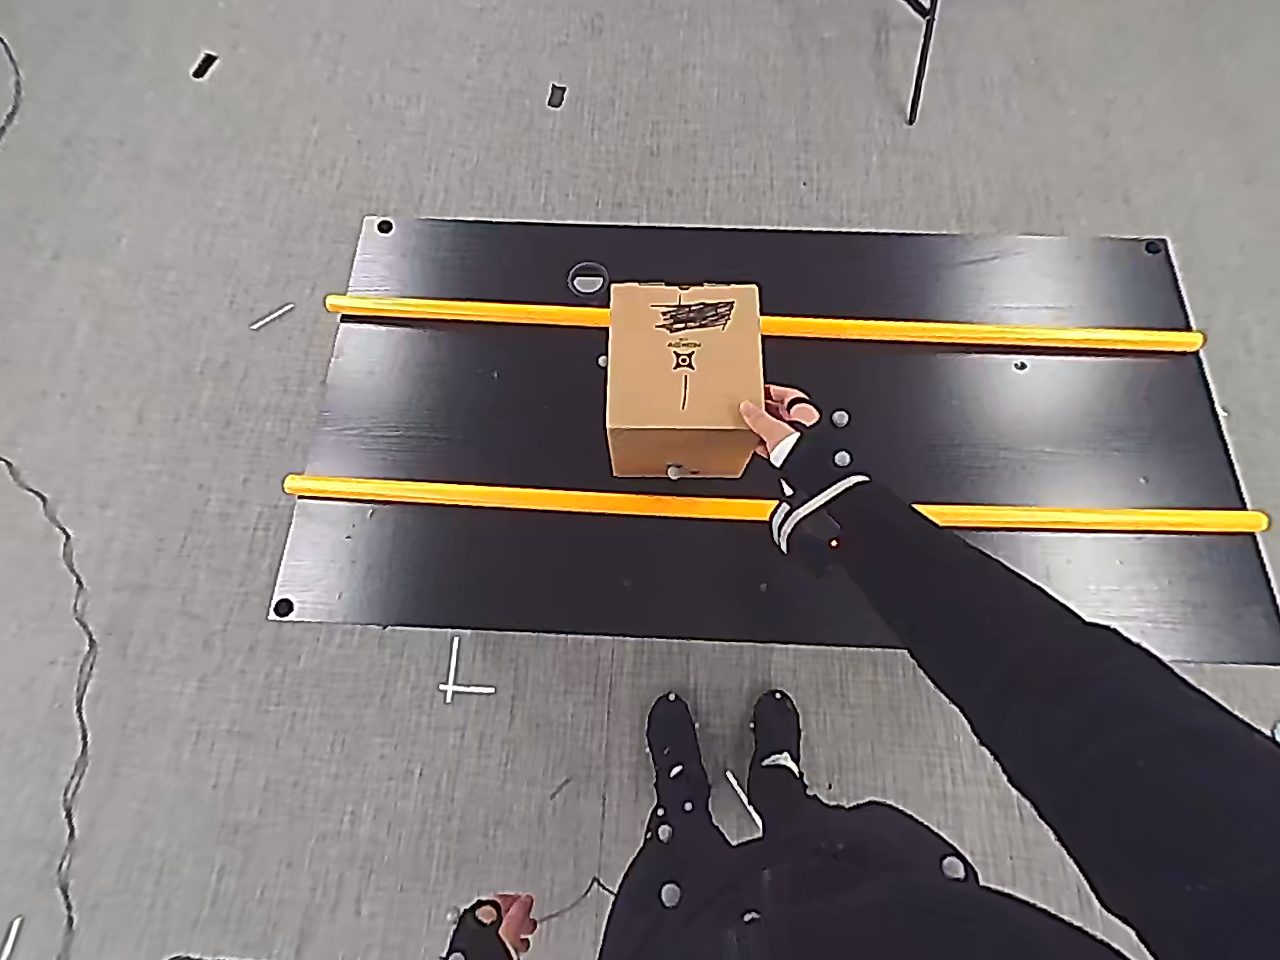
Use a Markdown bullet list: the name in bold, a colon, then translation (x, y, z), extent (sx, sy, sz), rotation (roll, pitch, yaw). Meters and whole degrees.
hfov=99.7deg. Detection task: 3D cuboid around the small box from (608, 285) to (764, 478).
- **small box**: translation (0.050, -0.112, 0.660), extent (0.168, 0.176, 0.179), rotation (1, 73, 1)
